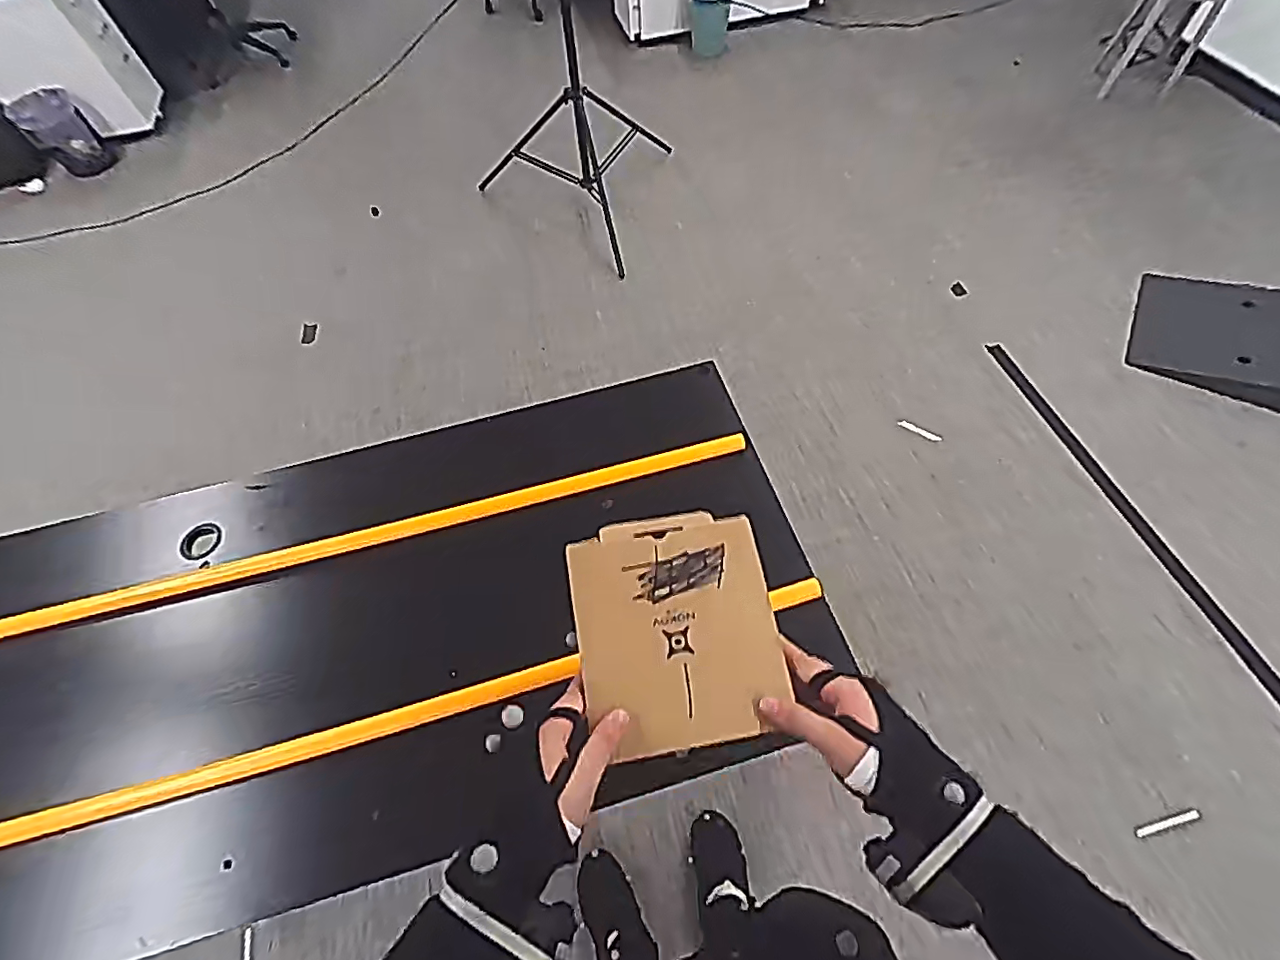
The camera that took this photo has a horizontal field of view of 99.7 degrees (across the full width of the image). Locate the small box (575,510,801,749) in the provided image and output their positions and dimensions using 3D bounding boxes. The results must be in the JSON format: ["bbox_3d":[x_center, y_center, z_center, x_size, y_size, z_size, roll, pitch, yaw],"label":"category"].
[{"bbox_3d":[0.032,0.146,0.524,0.168,0.176,0.179,-9,70,-5],"label":"small box"}]
